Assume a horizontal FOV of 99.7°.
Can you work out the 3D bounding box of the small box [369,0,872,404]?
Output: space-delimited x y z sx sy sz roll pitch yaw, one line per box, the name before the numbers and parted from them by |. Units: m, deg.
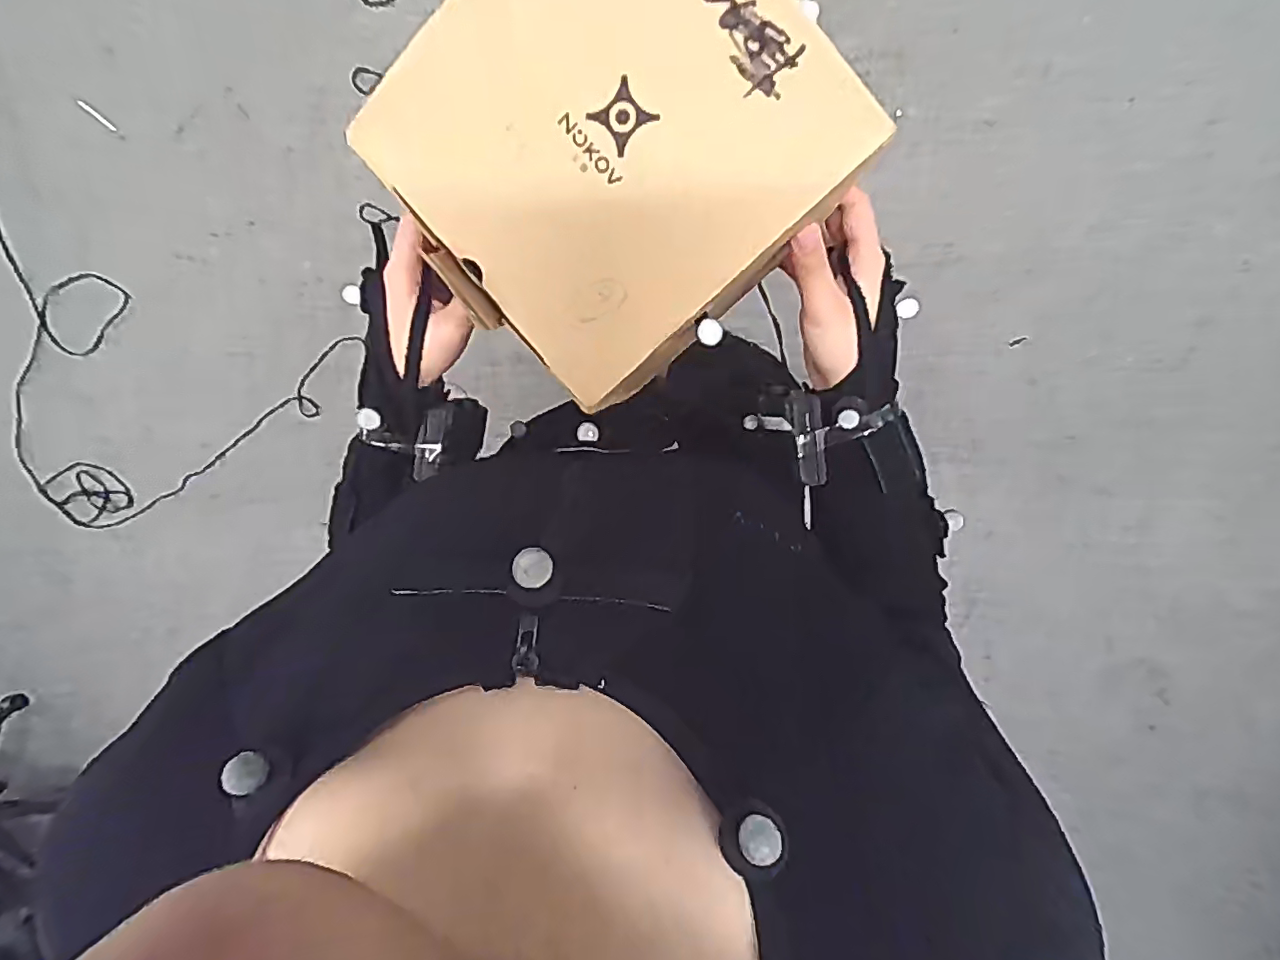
small box | -0.005 -0.165 0.321 0.179 0.176 0.168 -41 95 12
